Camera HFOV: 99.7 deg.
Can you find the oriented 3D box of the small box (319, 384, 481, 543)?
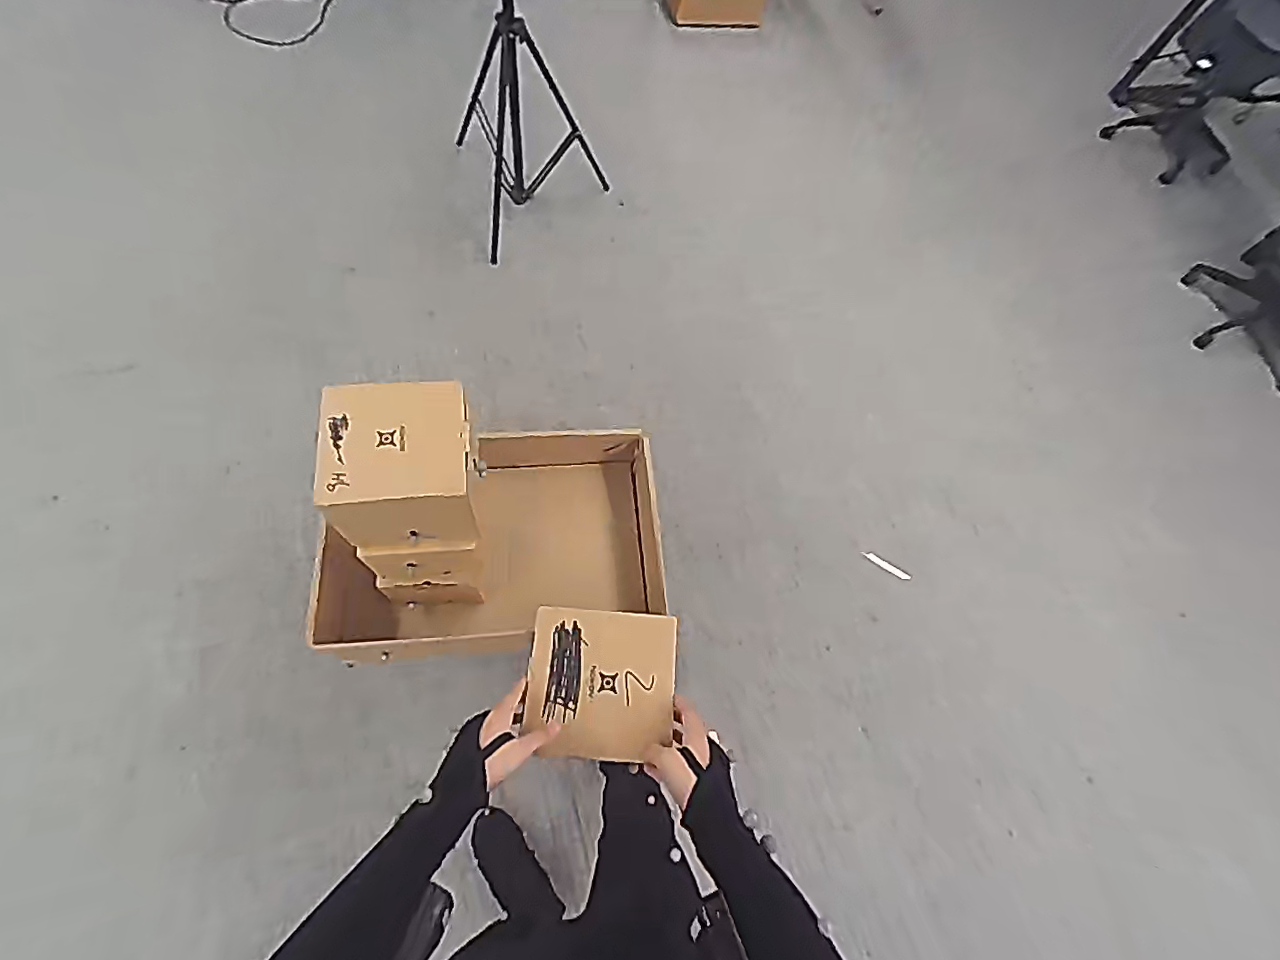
[{"bbox_3d":[-0.314,-0.018,0.747,0.179,0.176,0.168,-3,66,-12],"label":"small box"}]

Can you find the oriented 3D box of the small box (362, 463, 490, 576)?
[{"bbox_3d":[-0.340,0.056,0.891,0.168,0.176,0.179,-3,67,-12],"label":"small box"}]

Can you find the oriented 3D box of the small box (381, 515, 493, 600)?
[{"bbox_3d":[-0.375,0.130,1.032,0.168,0.176,0.179,1,66,-10],"label":"small box"}]
